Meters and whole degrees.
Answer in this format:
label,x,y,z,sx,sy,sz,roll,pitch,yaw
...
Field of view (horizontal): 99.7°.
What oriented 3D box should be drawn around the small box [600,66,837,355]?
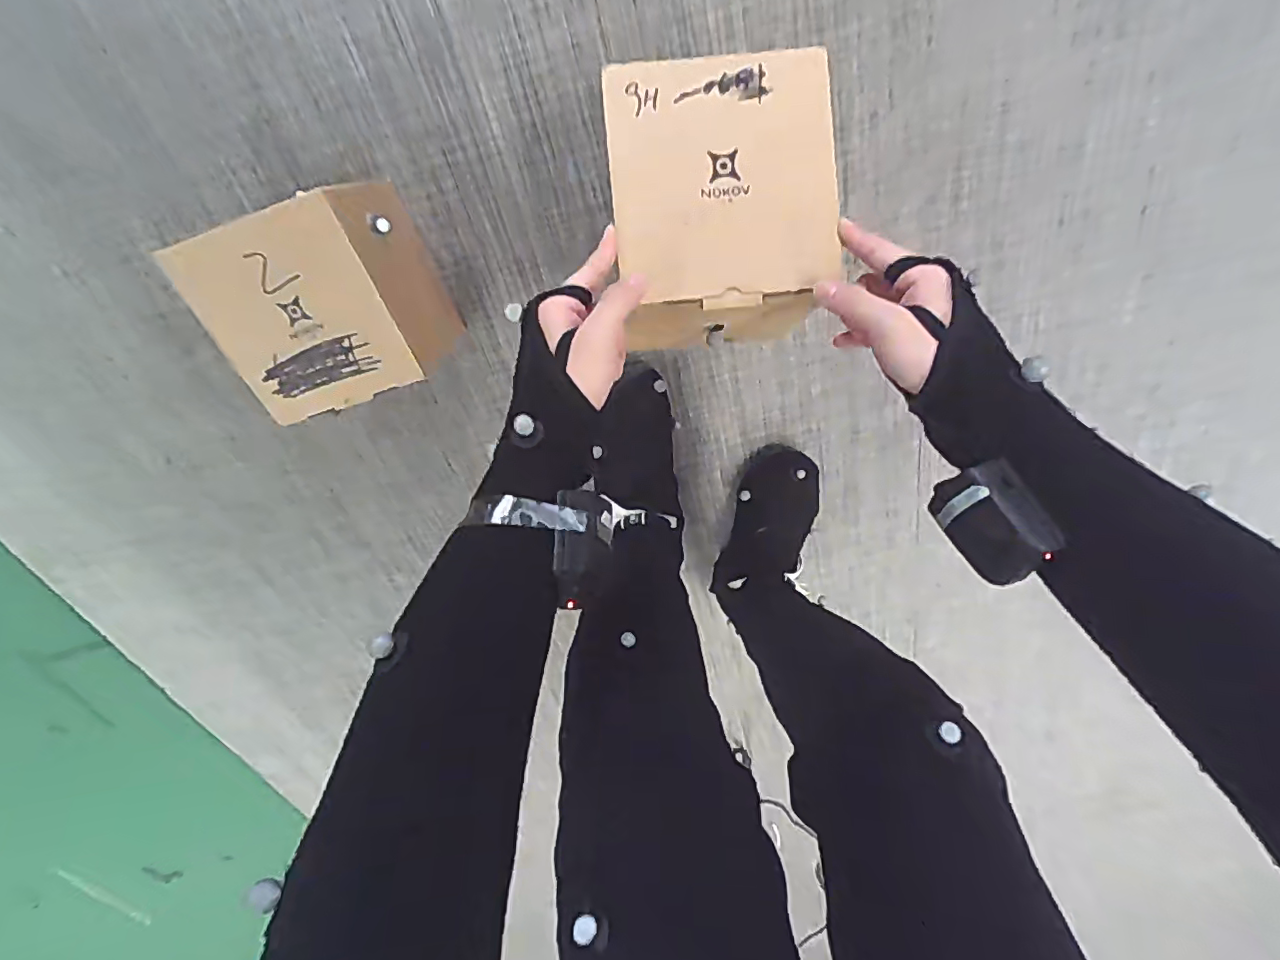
label,x,y,z,sx,sy,sz,roll,pitch,yaw
small box,0.058,-0.210,0.474,0.168,0.176,0.179,-5,93,-1
